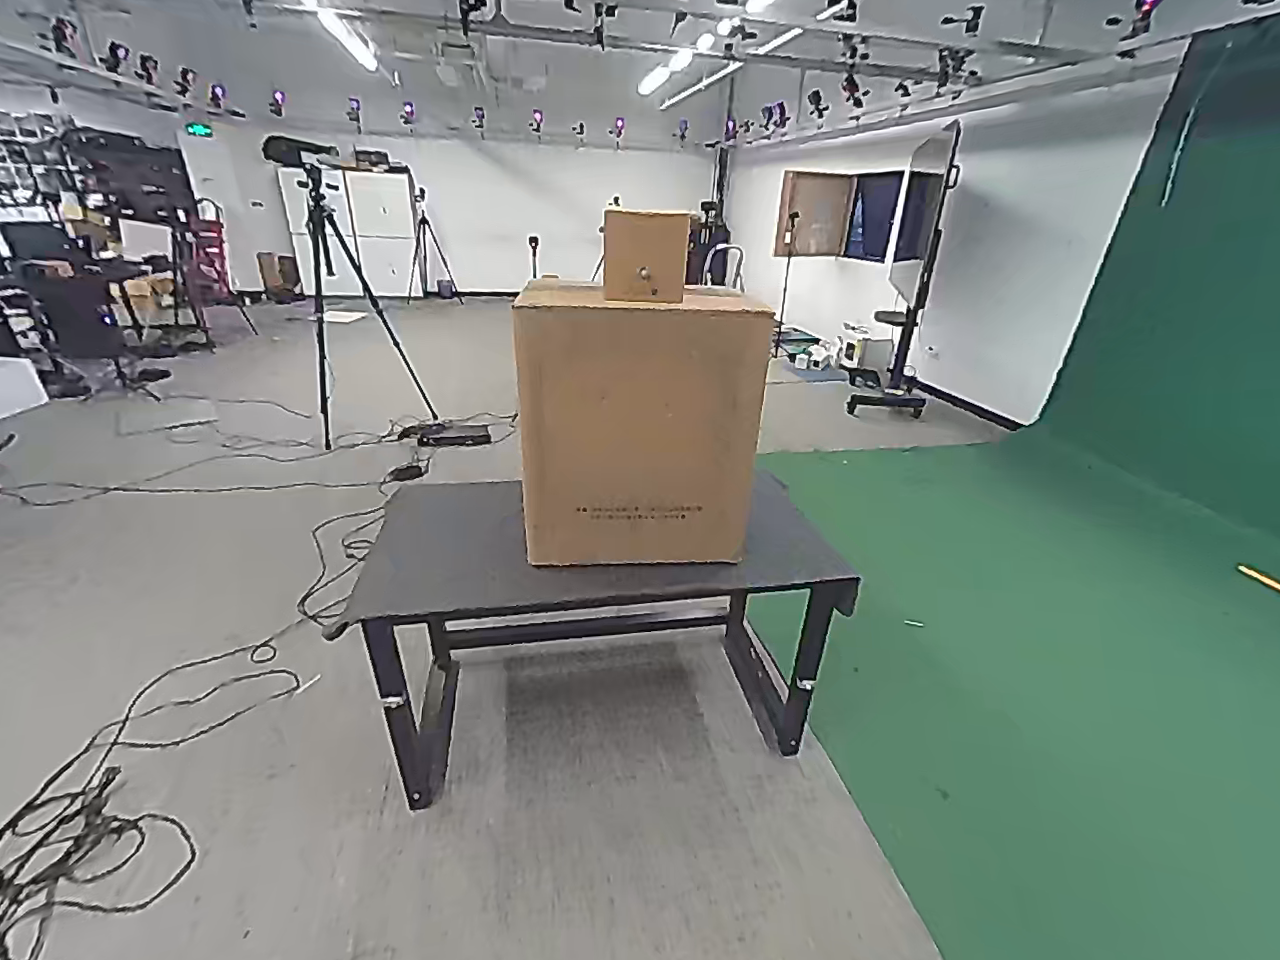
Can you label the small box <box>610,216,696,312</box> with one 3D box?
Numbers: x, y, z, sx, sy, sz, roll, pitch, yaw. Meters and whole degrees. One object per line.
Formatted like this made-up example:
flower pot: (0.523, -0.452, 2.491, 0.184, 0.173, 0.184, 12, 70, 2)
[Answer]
small box: (0.023, -0.466, 1.160, 0.168, 0.176, 0.179, 2, 29, -2)
